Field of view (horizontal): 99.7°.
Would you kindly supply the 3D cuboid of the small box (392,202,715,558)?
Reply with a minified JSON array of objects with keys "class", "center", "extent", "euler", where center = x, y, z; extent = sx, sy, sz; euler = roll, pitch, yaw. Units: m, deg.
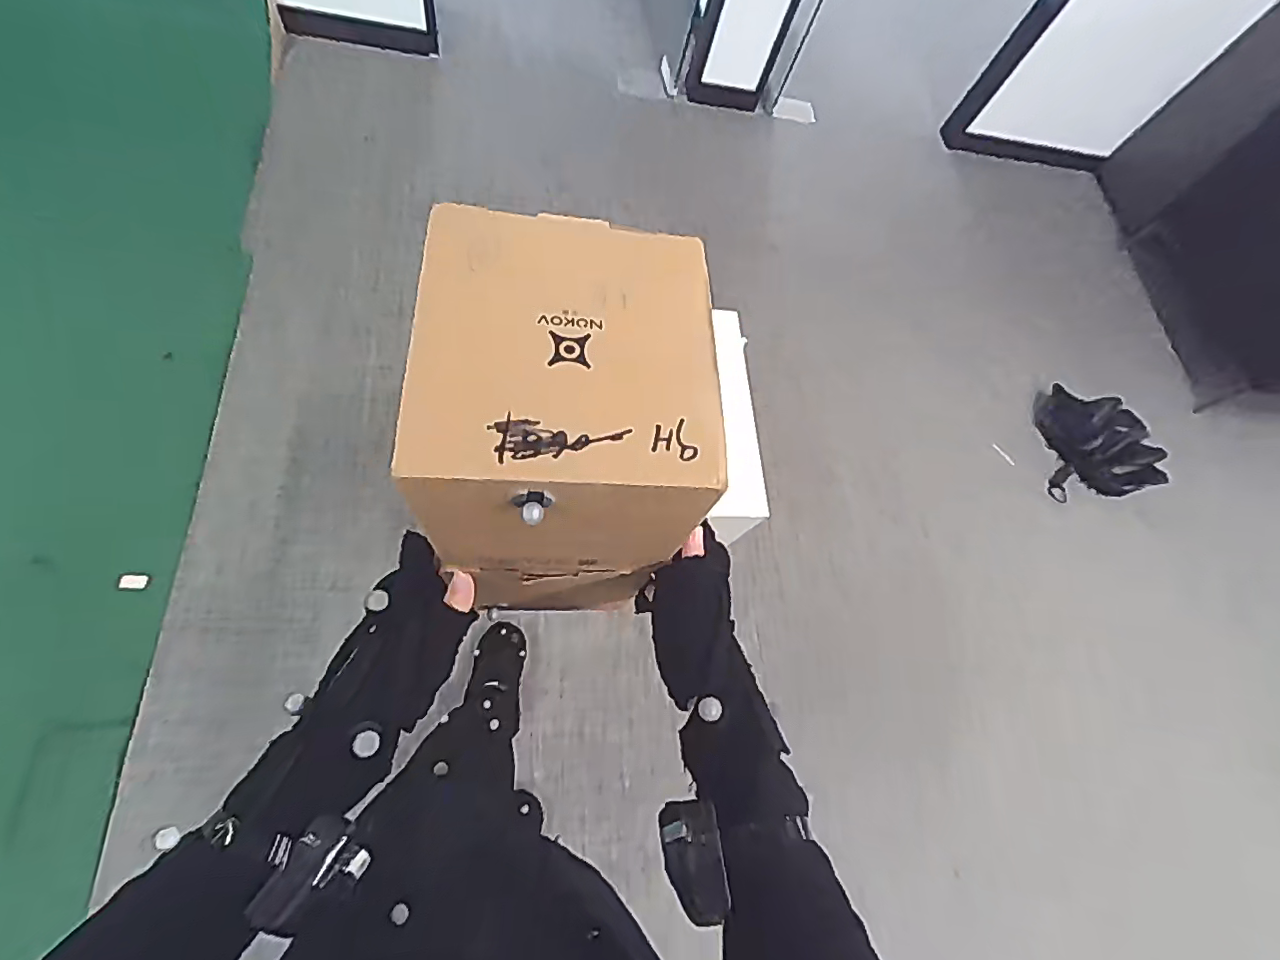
[{"class":"small box","center":[-0.056,-0.054,0.379],"extent":[0.168,0.176,0.179],"euler":[2,66,-9]}]

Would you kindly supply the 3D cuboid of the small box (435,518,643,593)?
[{"class":"small box","center":[-0.090,0.011,0.525],"extent":[0.168,0.176,0.179],"euler":[1,66,-10]}]
